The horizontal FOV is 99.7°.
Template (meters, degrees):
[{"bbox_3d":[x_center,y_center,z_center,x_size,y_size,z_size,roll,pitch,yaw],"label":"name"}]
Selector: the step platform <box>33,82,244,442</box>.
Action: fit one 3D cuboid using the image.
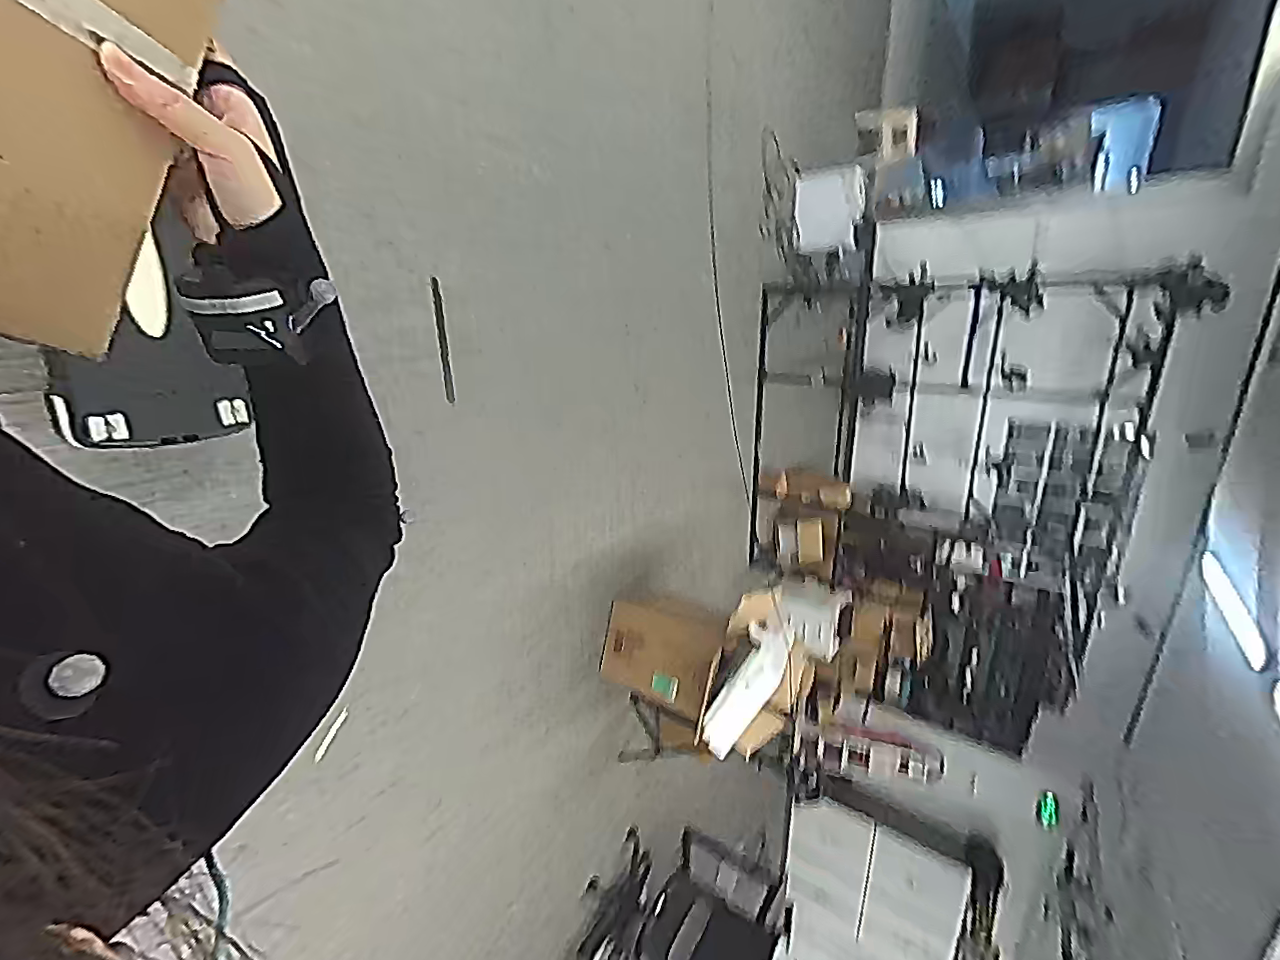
[{"bbox_3d":[-0.966,-0.413,1.020,0.286,0.204,0.684,-13,109,-53],"label":"step platform"}]
